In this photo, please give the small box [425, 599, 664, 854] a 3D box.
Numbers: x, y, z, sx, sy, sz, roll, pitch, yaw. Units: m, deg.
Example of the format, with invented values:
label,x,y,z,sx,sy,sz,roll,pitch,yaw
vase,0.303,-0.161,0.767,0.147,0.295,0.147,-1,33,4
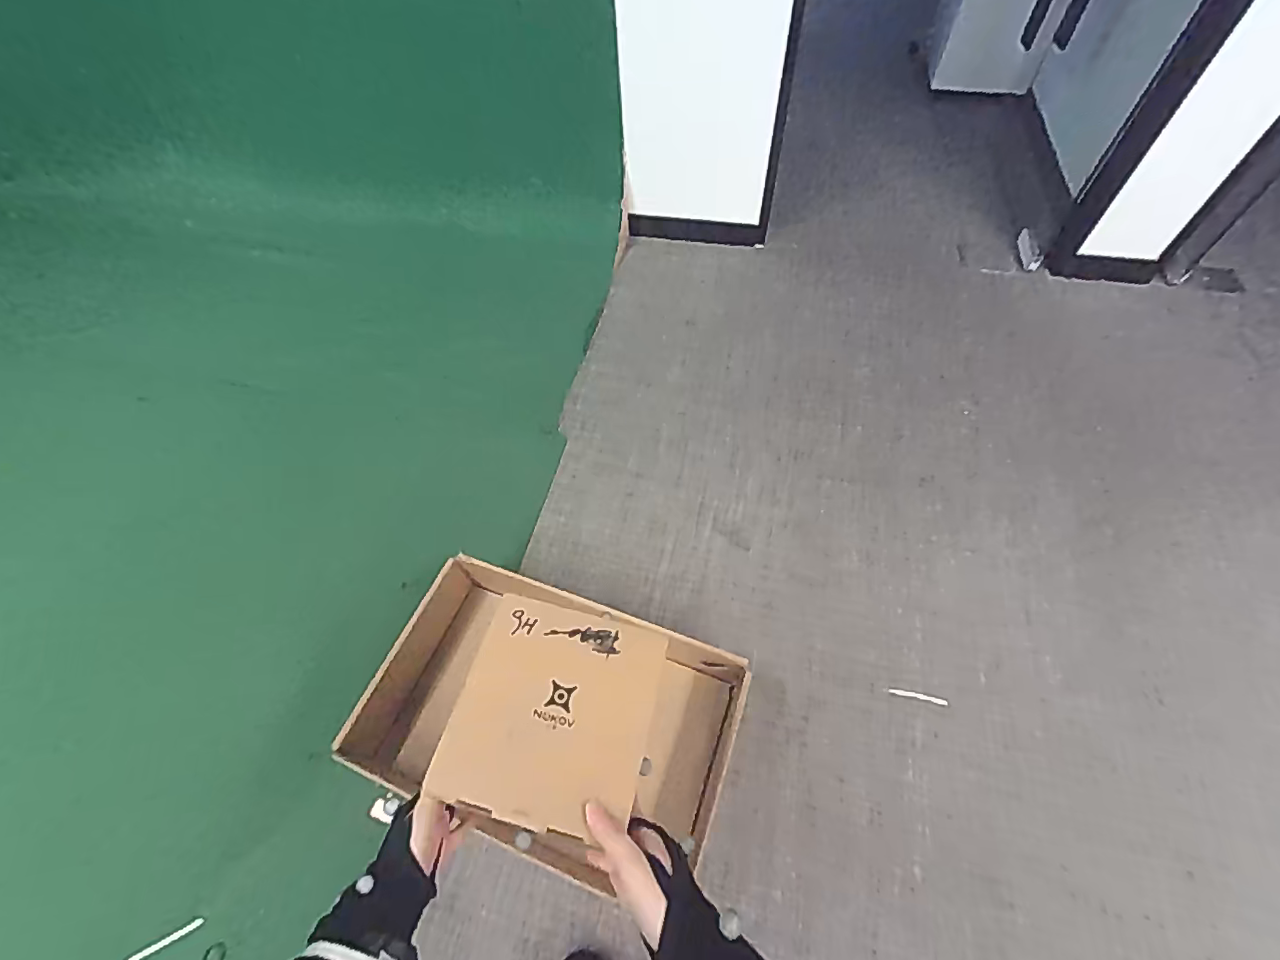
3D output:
label,x,y,z,sx,sy,sz,roll,pitch,yaw
small box,-0.079,0.248,0.539,0.168,0.176,0.179,14,55,5
